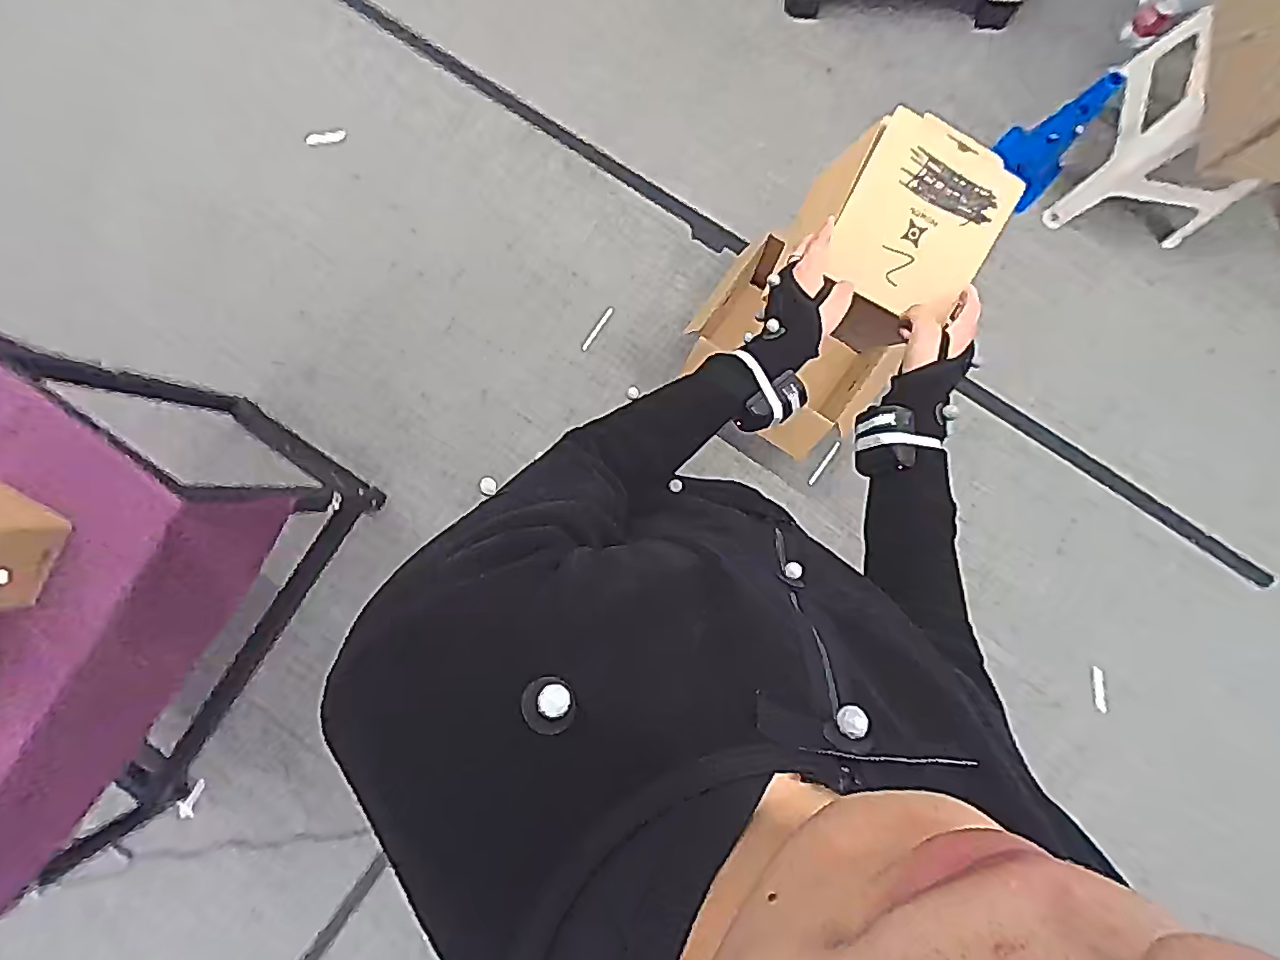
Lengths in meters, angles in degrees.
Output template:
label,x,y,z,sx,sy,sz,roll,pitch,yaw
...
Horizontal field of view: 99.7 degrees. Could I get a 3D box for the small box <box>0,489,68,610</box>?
label,x,y,z,sx,sy,sz,roll,pitch,yaw
small box,-1.133,0.117,0.896,0.179,0.176,0.168,28,91,4
